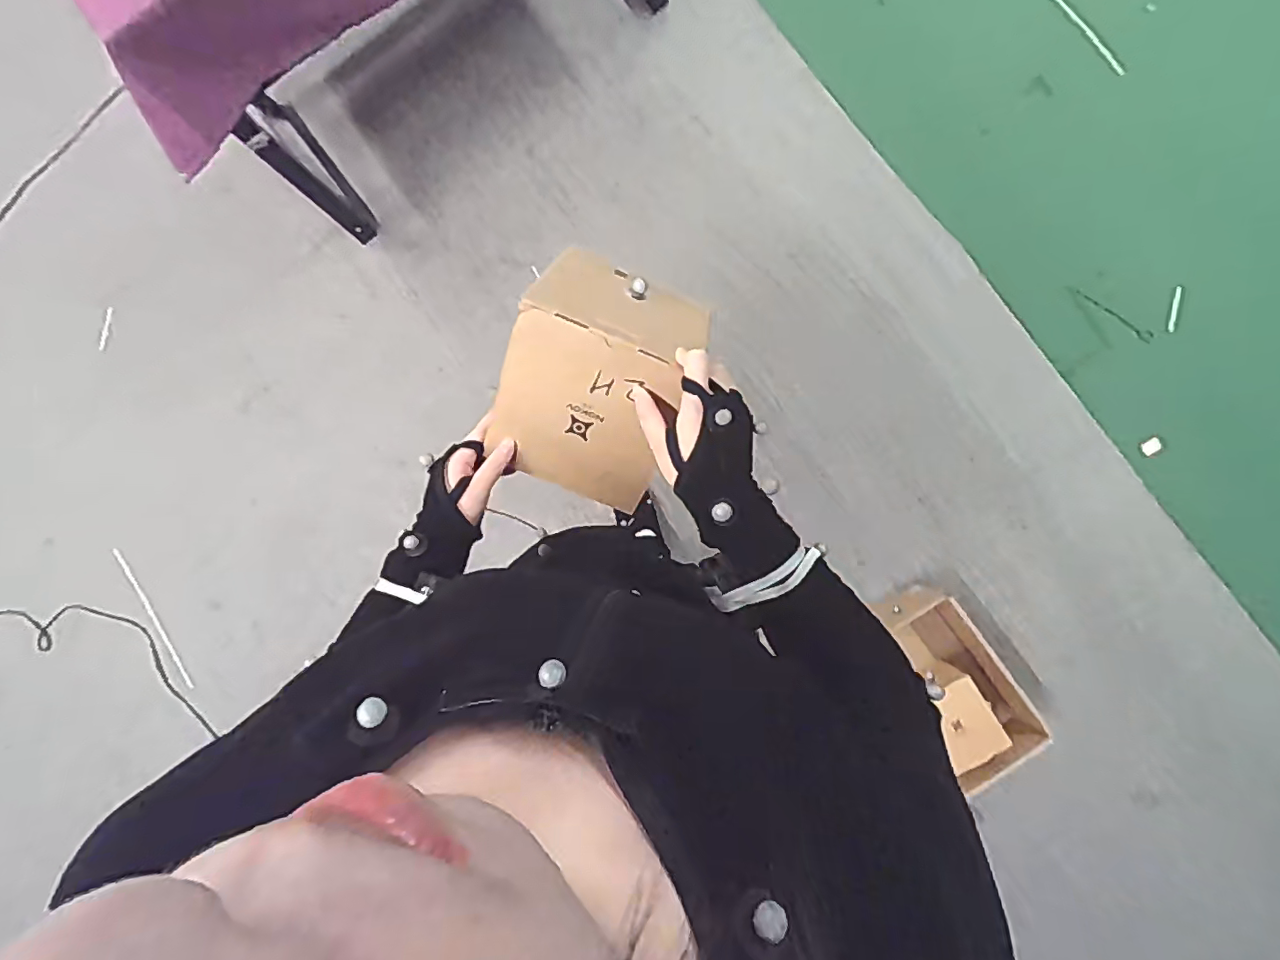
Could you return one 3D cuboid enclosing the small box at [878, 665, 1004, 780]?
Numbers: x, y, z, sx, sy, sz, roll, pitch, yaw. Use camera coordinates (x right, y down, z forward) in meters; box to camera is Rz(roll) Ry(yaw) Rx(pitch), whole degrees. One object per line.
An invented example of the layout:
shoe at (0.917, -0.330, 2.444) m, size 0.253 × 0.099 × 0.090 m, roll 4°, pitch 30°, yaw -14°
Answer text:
small box at (0.705, 0.563, 1.290) m, size 0.168 × 0.176 × 0.179 m, roll -30°, pitch 84°, yaw 3°
